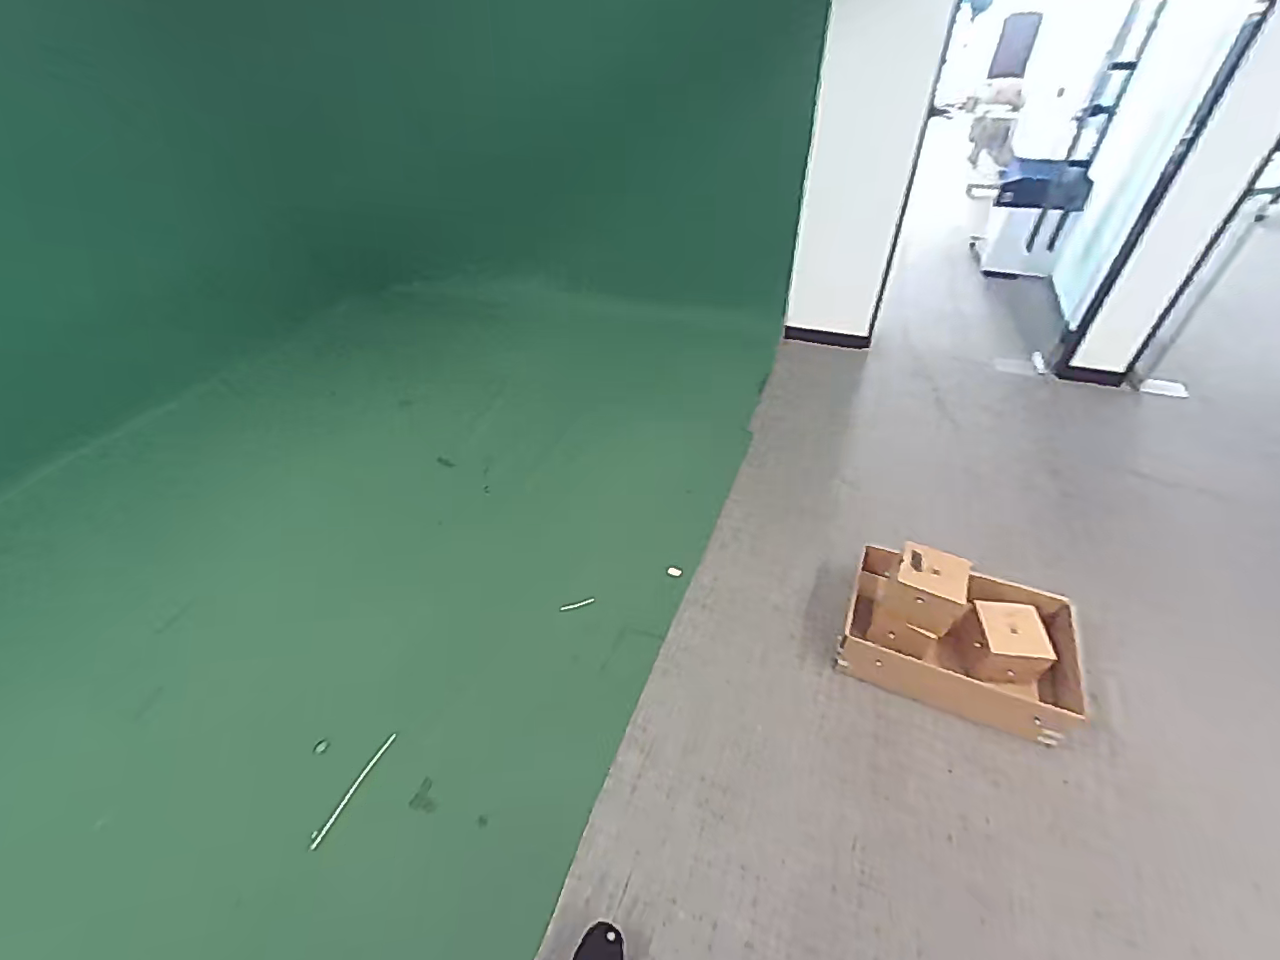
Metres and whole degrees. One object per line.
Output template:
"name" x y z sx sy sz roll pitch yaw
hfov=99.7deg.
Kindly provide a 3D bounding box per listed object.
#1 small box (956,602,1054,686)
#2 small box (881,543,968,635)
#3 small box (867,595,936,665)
"small box" 1.069 0.488 1.599 0.168 0.176 0.179 4 44 8
"small box" 0.816 0.317 1.560 0.179 0.176 0.168 19 47 21
"small box" 0.822 0.436 1.673 0.168 0.176 0.179 25 49 26
